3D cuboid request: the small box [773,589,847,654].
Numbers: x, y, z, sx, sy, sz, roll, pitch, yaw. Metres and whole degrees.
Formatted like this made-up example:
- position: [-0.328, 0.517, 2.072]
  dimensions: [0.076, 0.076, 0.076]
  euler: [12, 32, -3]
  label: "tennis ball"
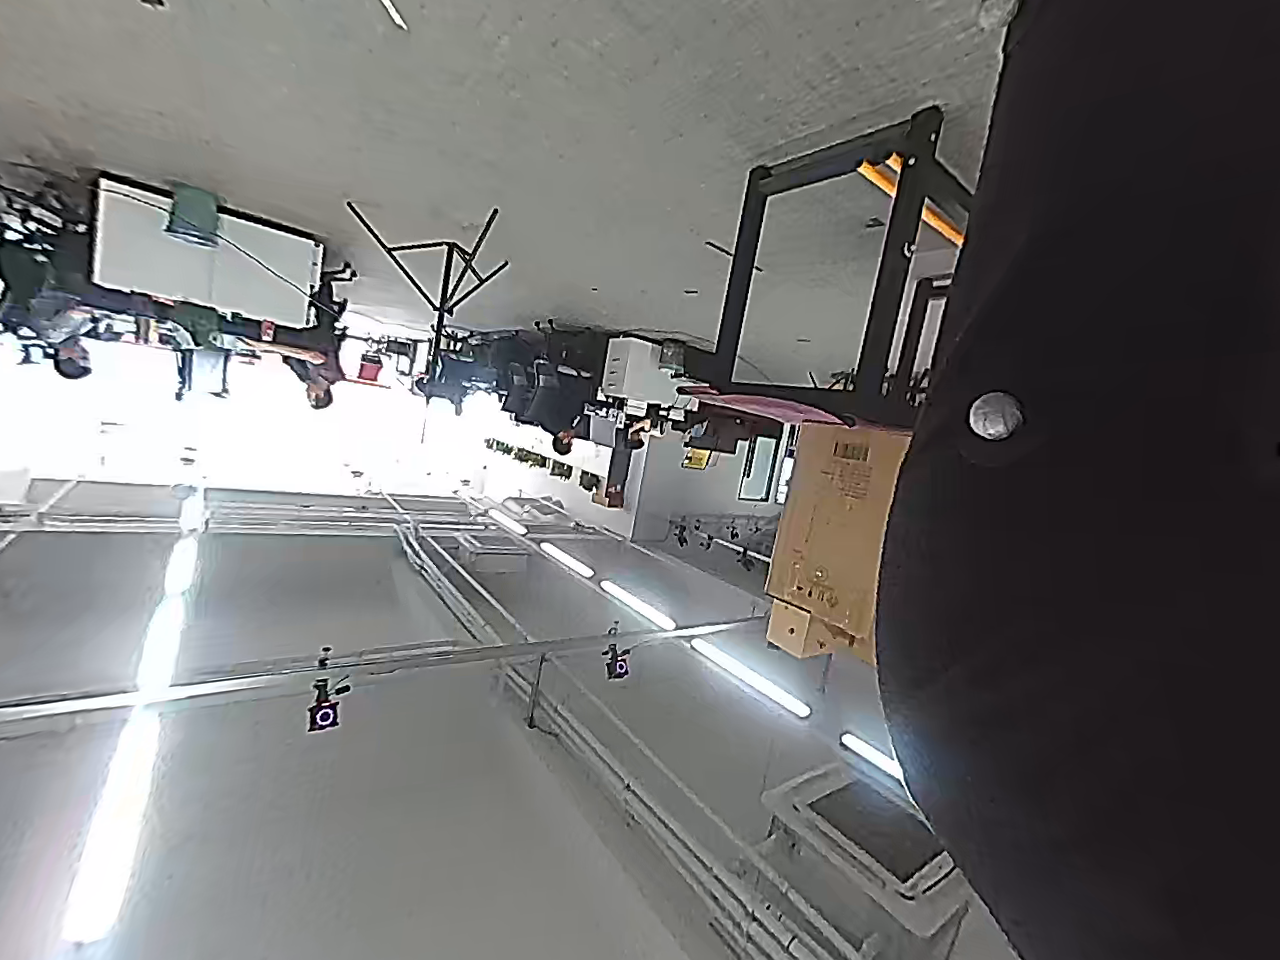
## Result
- position: [0.599, 0.493, 1.905]
  dimensions: [0.179, 0.176, 0.168]
  euler: [3, -171, -33]
  label: "small box"
